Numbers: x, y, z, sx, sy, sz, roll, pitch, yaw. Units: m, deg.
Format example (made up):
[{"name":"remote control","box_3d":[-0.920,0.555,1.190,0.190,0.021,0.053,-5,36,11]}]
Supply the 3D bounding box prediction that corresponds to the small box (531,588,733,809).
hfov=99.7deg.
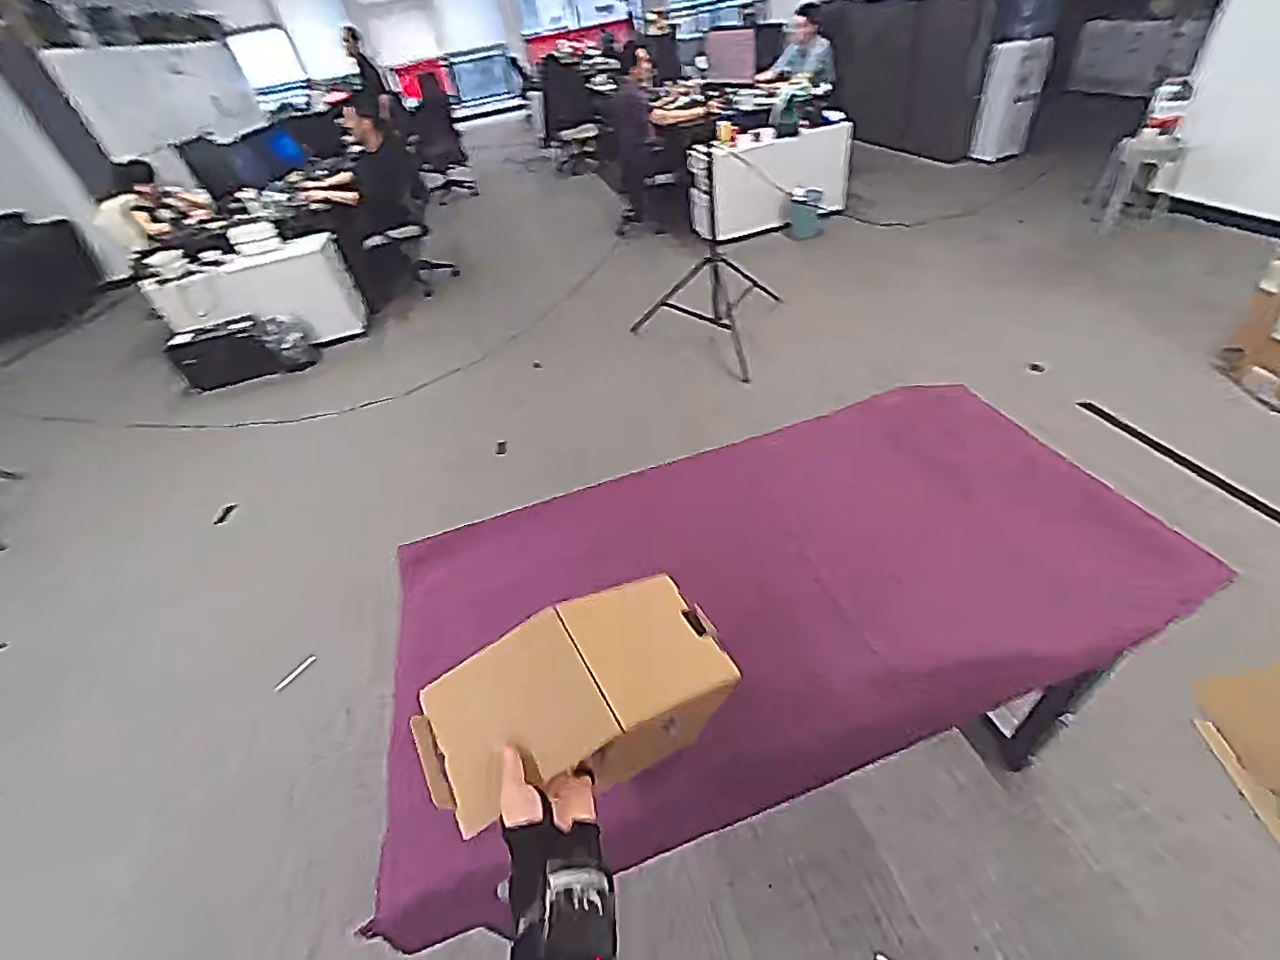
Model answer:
[{"name":"small box","box_3d":[-0.024,0.266,0.672,0.179,0.176,0.168,-6,44,-37]}]
